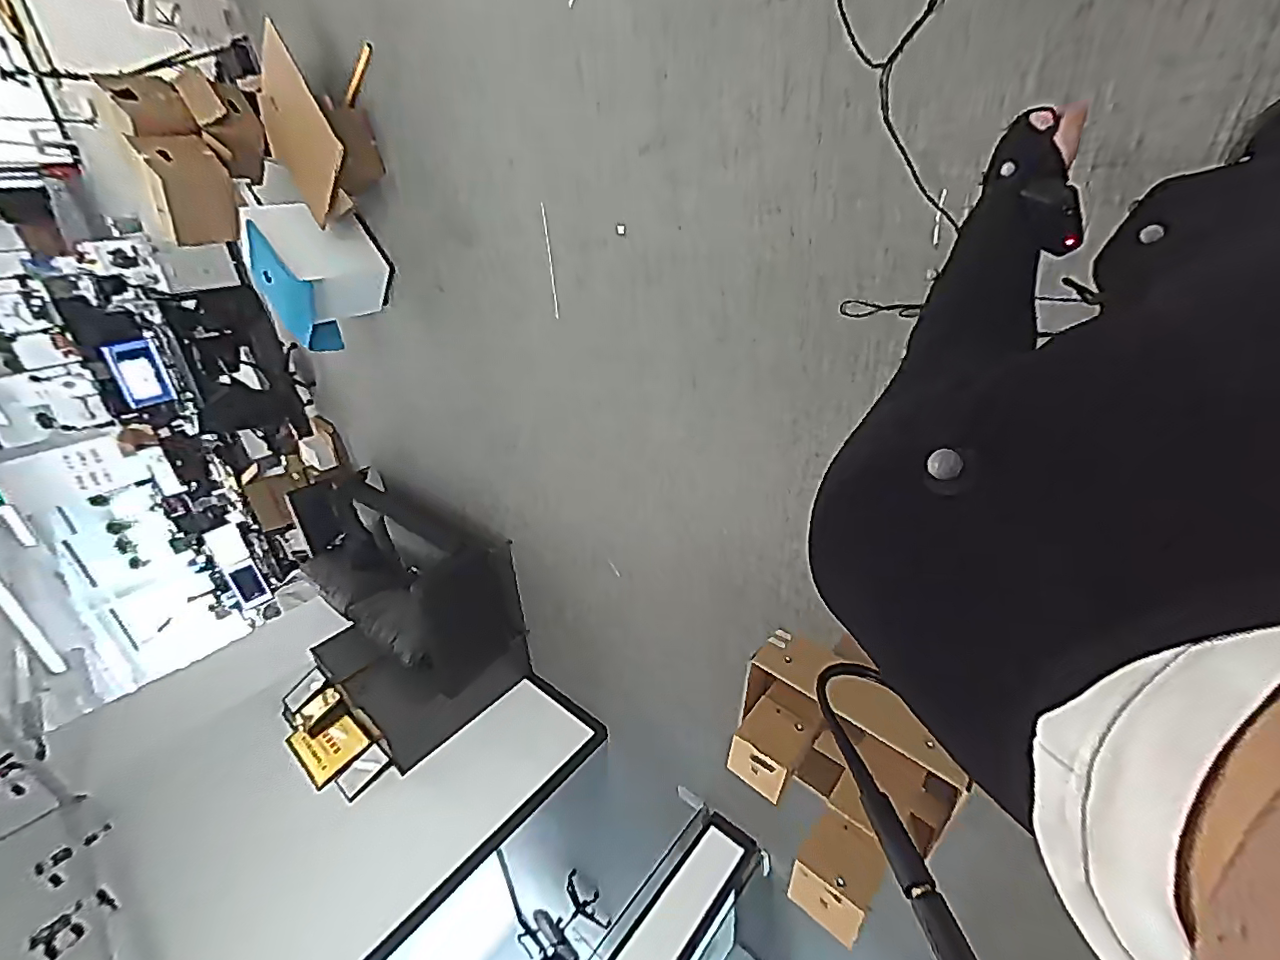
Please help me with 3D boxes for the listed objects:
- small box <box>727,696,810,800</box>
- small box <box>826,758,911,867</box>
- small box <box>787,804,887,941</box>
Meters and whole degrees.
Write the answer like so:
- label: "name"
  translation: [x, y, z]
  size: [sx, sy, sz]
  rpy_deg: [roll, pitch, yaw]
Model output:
- label: "small box"
  translation: [0.375, 0.769, 1.571]
  size: [0.168, 0.176, 0.179]
  rpy_deg: [27, 130, 32]
- label: "small box"
  translation: [0.588, 0.877, 1.417]
  size: [0.168, 0.176, 0.179]
  rpy_deg: [24, 127, 35]
- label: "small box"
  translation: [0.479, 0.946, 1.315]
  size: [0.168, 0.176, 0.179]
  rpy_deg: [23, 127, 35]
